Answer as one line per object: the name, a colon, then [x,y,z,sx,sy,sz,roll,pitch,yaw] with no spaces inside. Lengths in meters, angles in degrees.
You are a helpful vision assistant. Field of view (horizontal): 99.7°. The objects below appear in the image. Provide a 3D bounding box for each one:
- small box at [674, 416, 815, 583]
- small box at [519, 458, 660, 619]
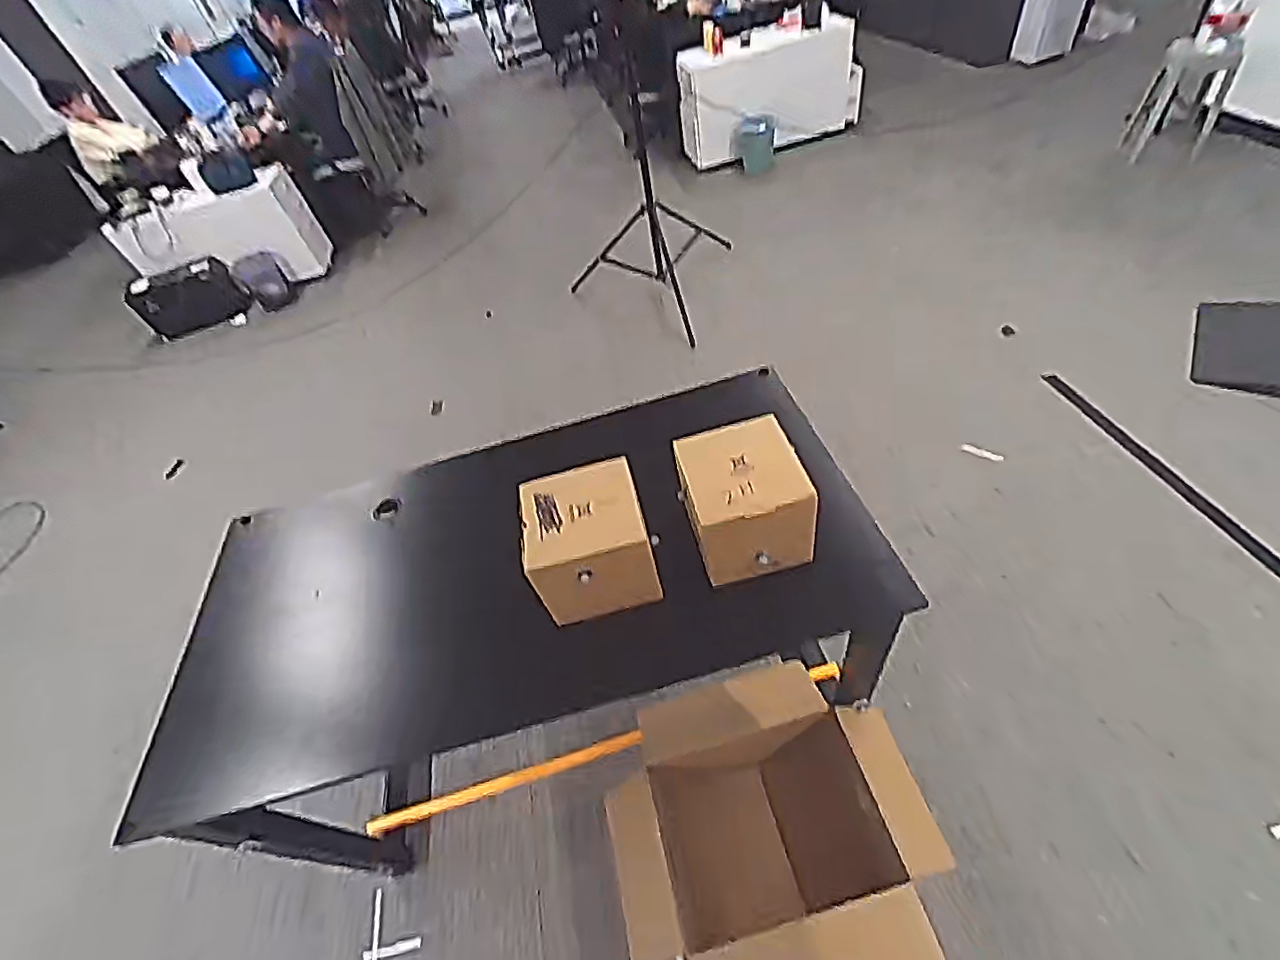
small box: [0.159,0.033,0.848,0.168,0.176,0.179,-16,48,2]
small box: [-0.078,0.098,0.850,0.179,0.176,0.168,-14,48,0]
